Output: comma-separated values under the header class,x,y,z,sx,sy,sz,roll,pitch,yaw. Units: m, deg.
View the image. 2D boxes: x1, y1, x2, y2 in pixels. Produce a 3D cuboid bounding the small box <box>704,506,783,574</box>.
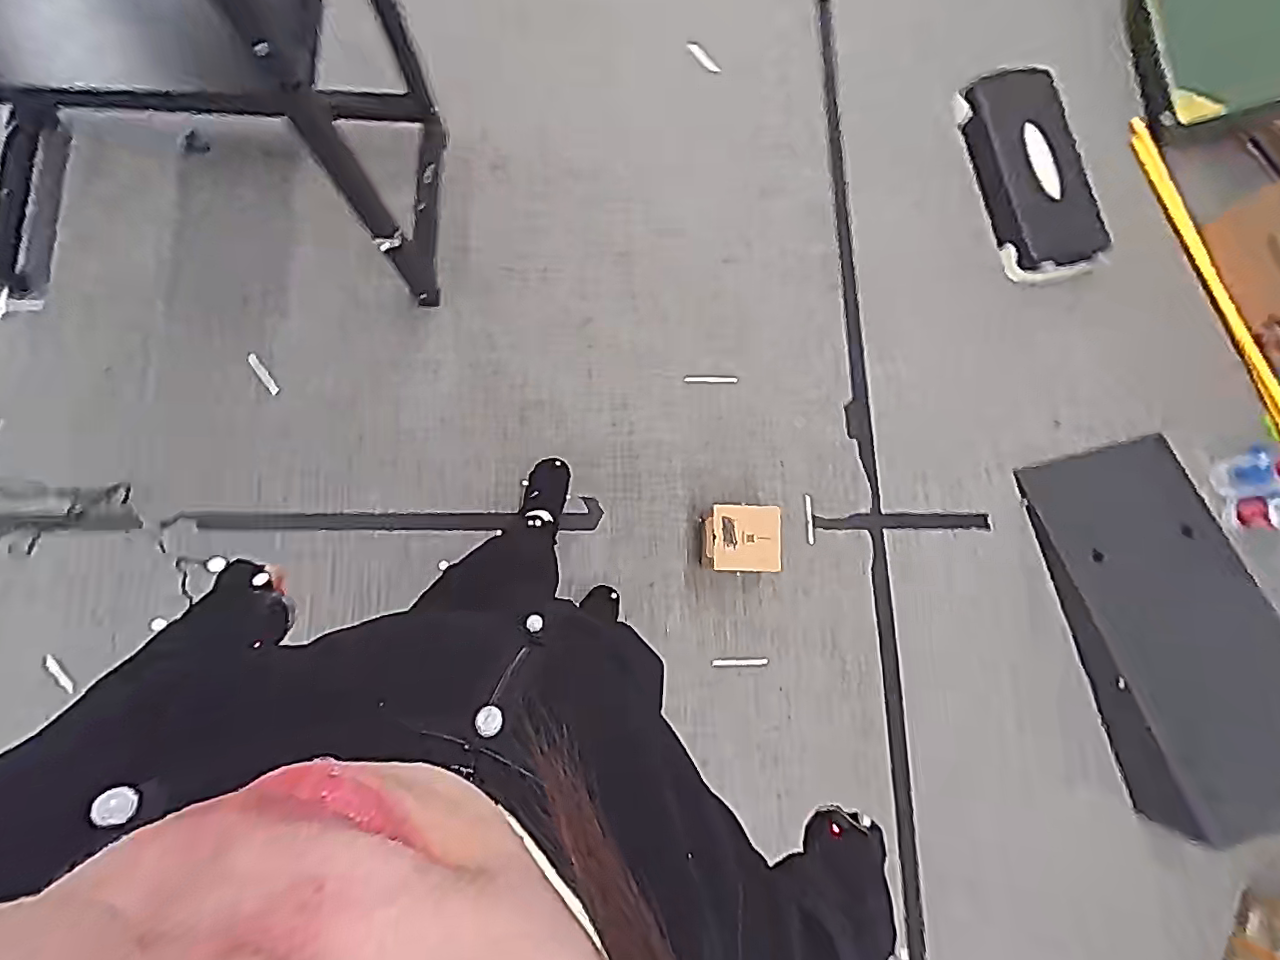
class,x,y,z,sx,sy,sz,roll,pitch,yaw
small box,0.268,0.161,1.429,0.179,0.176,0.168,2,82,-4
